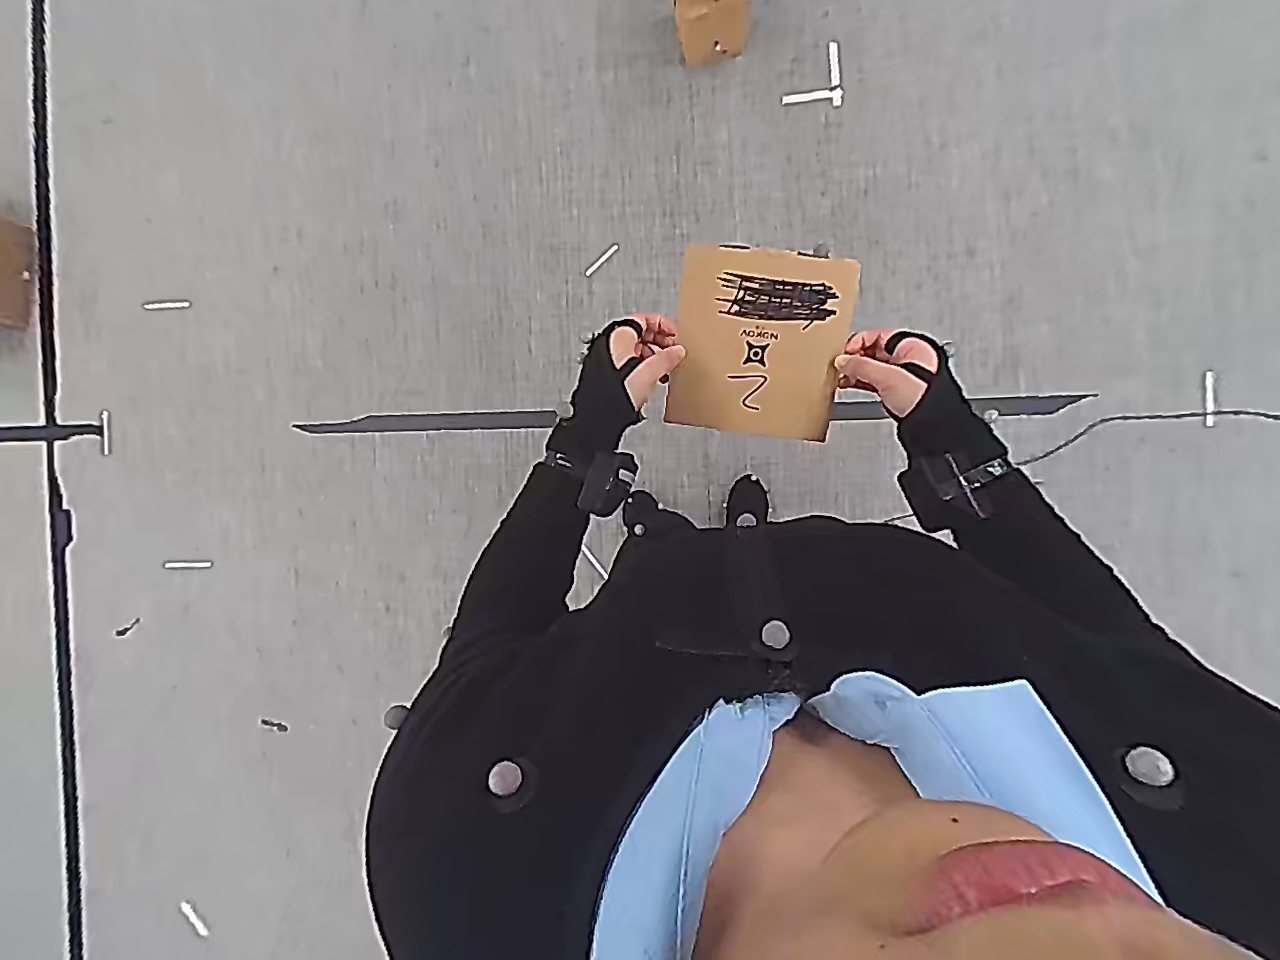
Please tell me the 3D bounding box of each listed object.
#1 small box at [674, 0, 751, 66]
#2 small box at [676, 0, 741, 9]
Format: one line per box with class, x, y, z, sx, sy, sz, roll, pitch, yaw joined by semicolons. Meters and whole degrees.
small box;0.184;-1.245;1.413;0.168;0.176;0.179;-14;89;6
small box;0.161;-1.252;1.251;0.168;0.176;0.179;-1;90;6
